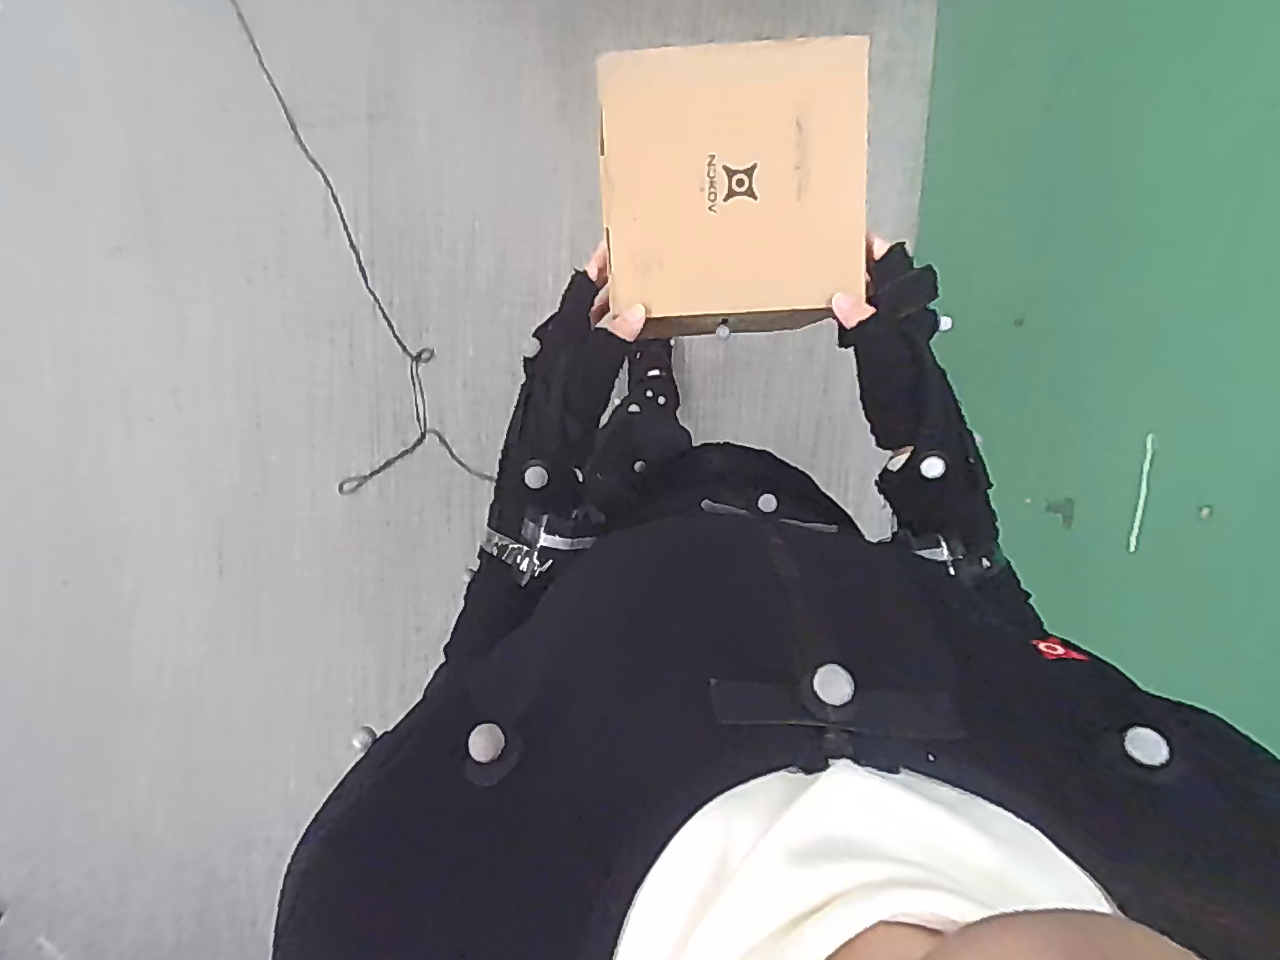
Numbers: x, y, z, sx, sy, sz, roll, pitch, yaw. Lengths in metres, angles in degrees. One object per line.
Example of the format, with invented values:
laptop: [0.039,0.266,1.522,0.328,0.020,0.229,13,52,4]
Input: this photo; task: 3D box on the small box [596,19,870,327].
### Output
small box: [0.065,-0.219,0.435,0.179,0.176,0.168,-4,101,1]
